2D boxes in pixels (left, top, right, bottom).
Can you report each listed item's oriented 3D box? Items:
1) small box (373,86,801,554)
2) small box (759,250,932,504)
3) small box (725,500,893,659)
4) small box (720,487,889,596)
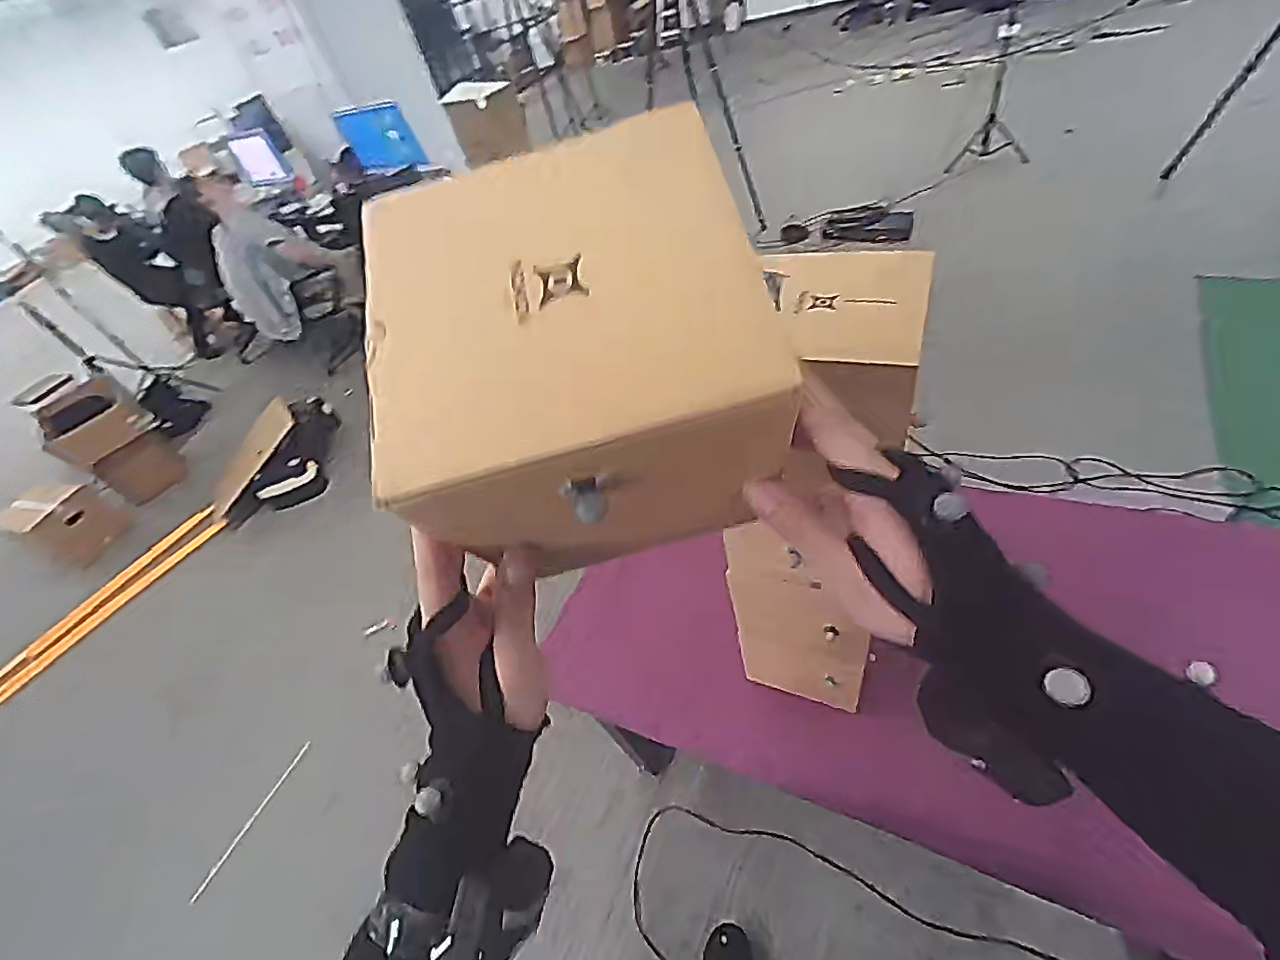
[{"bbox_3d":[-0.023,-0.067,0.312,0.179,0.176,0.168,-14,68,6],"label":"small box"},{"bbox_3d":[0.161,-0.096,0.513,0.179,0.176,0.168,10,51,25],"label":"small box"},{"bbox_3d":[0.235,0.124,0.745,0.179,0.176,0.168,10,52,26],"label":"small box"},{"bbox_3d":[0.199,0.011,0.633,0.168,0.176,0.179,9,52,25],"label":"small box"}]
